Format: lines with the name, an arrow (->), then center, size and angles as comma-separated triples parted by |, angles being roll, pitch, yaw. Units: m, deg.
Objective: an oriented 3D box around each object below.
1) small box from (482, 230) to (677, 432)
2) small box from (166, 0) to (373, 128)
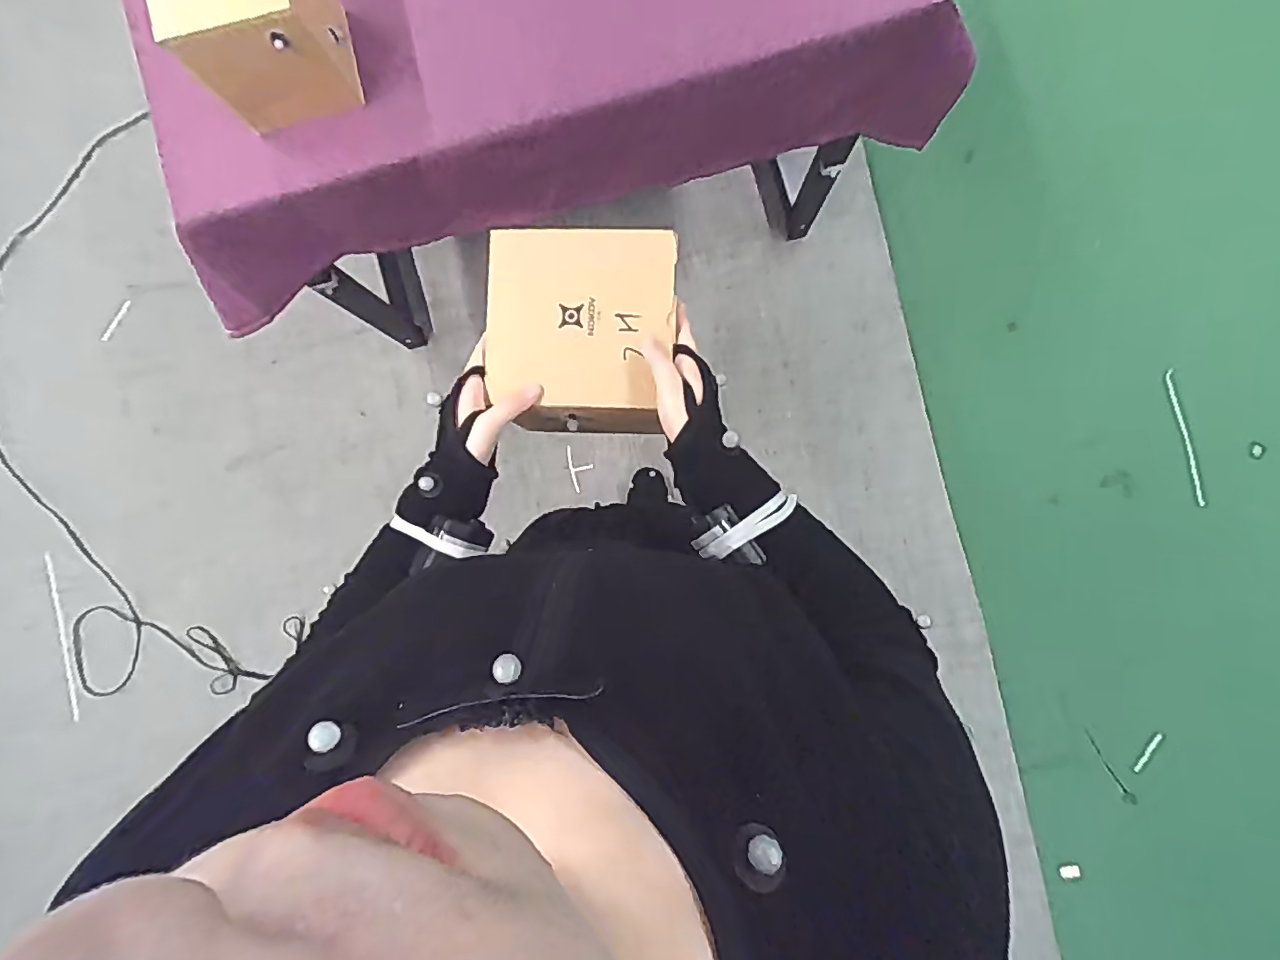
small box -> -0.051, -0.145, 0.577 | 0.179, 0.176, 0.168 | 2, 87, 3
small box -> -0.512, -0.636, 0.757 | 0.179, 0.176, 0.168 | -14, 86, 1
